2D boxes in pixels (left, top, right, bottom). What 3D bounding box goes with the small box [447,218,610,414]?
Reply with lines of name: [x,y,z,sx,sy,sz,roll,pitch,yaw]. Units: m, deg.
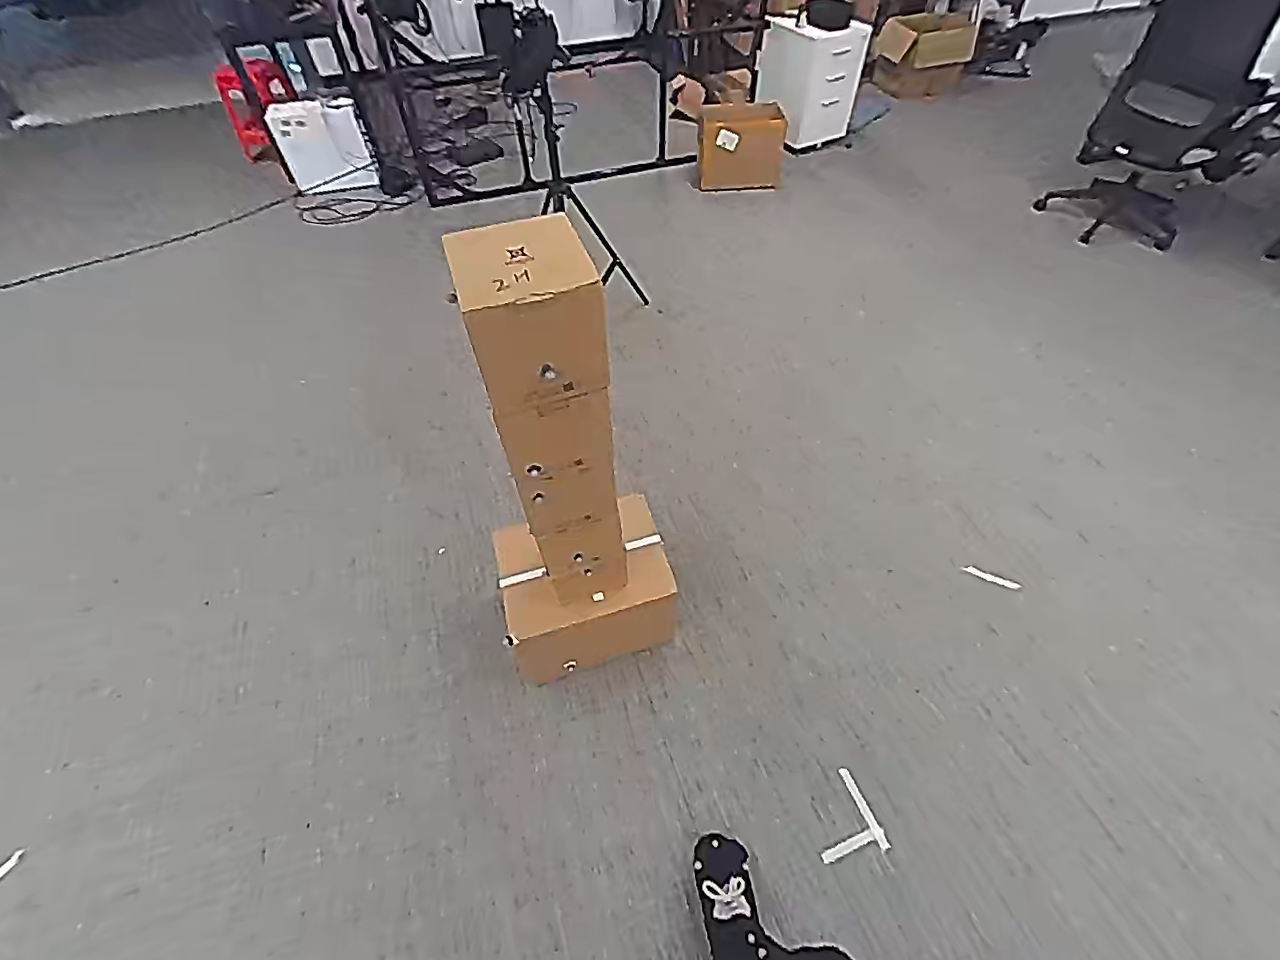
small box: [-0.145,-0.219,0.729,0.168,0.176,0.179,-17,55,-10]

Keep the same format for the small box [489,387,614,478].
small box: [-0.142,-0.122,0.862,0.168,0.176,0.179,-14,54,-9]

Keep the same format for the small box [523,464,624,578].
small box: [-0.137,0.074,1.125,0.168,0.176,0.179,-16,55,-10]

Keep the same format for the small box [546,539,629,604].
small box: [-0.132,0.165,1.259,0.179,0.176,0.168,-16,55,-12]
